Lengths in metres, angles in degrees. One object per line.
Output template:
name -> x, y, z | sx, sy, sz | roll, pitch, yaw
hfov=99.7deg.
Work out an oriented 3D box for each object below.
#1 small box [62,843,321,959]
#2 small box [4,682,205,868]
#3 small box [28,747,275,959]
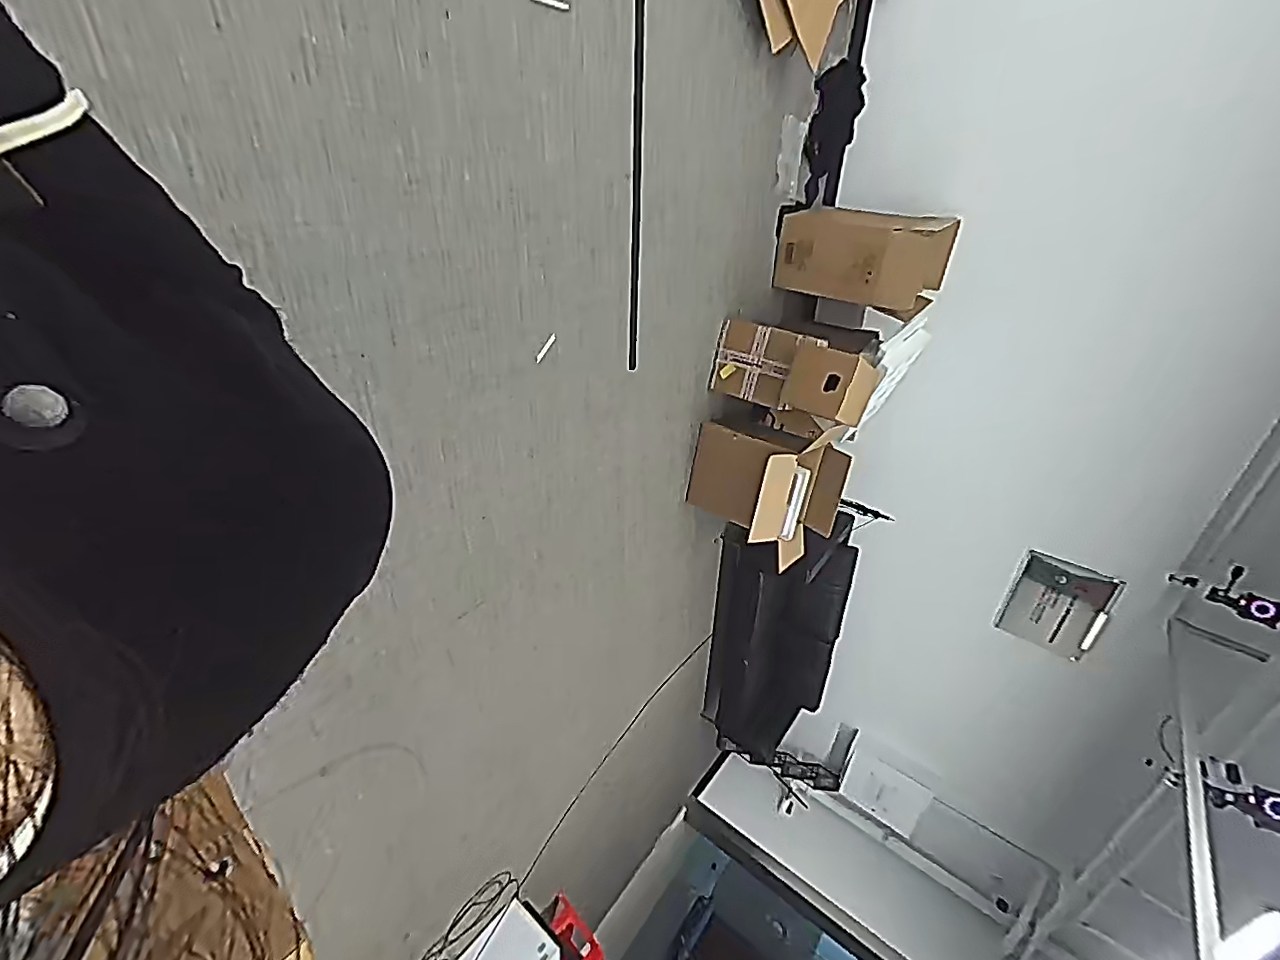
small box -> -0.447, 0.526, 0.559 | 0.168, 0.176, 0.179 | -28, 131, -46
small box -> -0.702, 0.418, 0.732 | 0.179, 0.176, 0.168 | -28, 131, -46
small box -> -0.575, 0.471, 0.647 | 0.179, 0.176, 0.168 | -28, 130, -46
